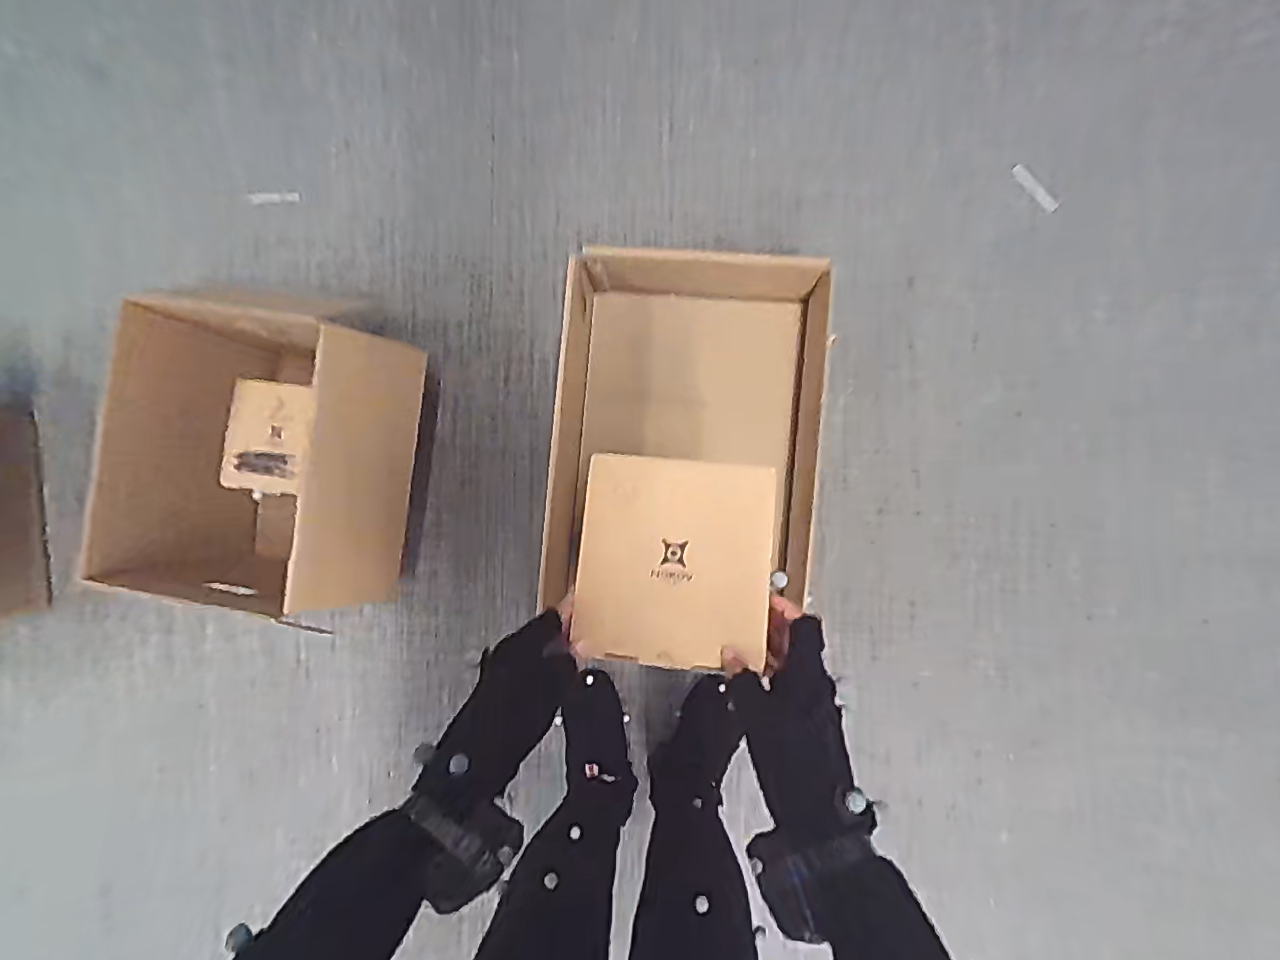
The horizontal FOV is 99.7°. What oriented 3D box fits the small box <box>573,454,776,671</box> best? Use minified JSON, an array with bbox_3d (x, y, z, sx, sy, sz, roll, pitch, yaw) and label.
[{"bbox_3d":[0.040,0.081,0.548,0.168,0.176,0.179,4,81,9],"label":"small box"}]
